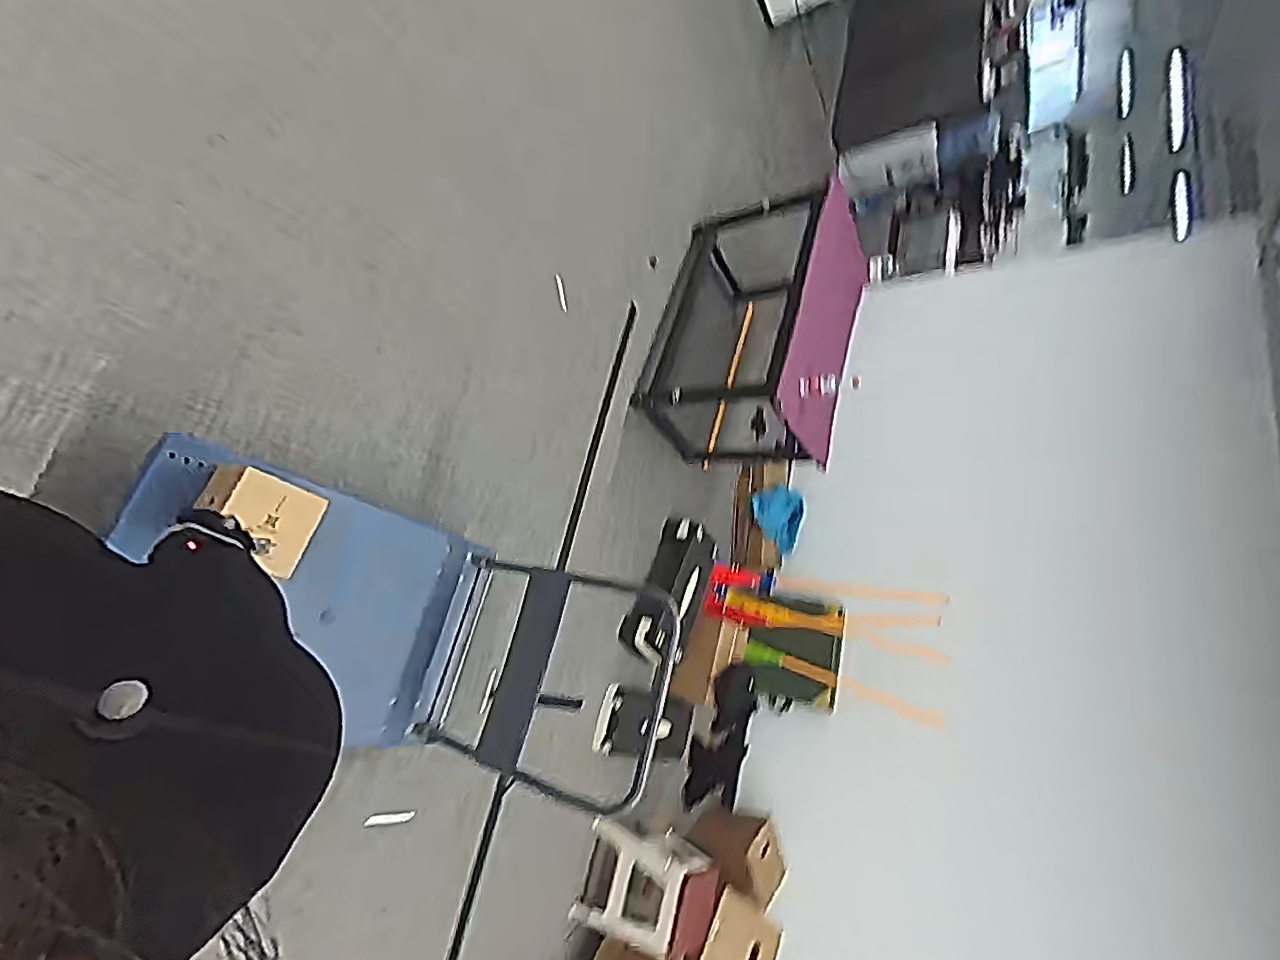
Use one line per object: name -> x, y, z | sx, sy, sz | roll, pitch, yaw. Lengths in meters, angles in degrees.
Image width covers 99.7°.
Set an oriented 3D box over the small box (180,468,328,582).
small box -> -0.785, 0.089, 1.098 | 0.168, 0.176, 0.179 | 41, 59, -47
